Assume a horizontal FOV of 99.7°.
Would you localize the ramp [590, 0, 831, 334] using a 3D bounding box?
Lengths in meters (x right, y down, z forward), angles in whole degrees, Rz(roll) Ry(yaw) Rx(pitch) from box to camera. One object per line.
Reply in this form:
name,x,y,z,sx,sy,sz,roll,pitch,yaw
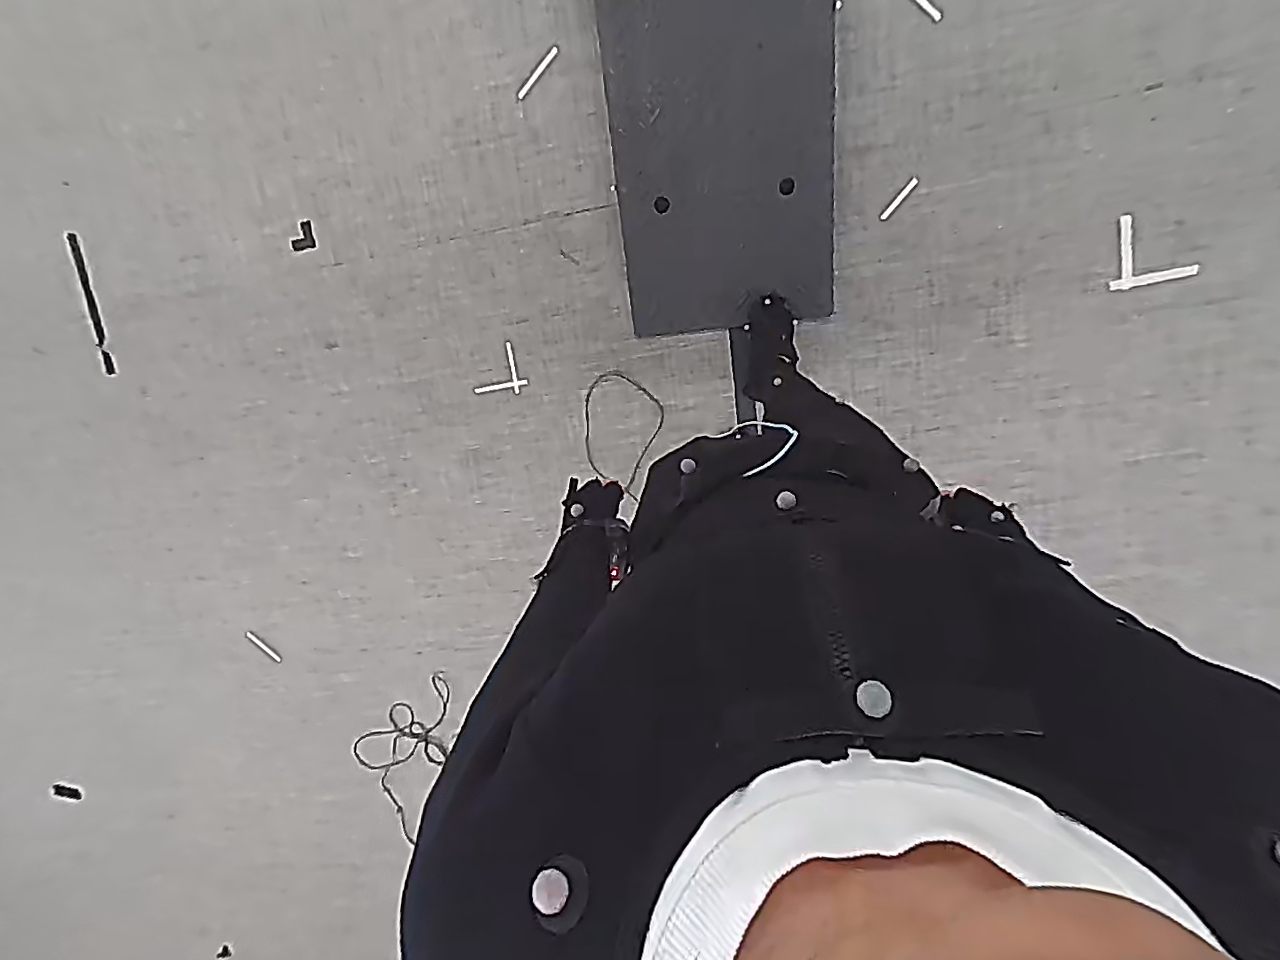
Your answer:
ramp,0.160,-0.850,1.170,0.509,0.206,0.991,-6,102,8
